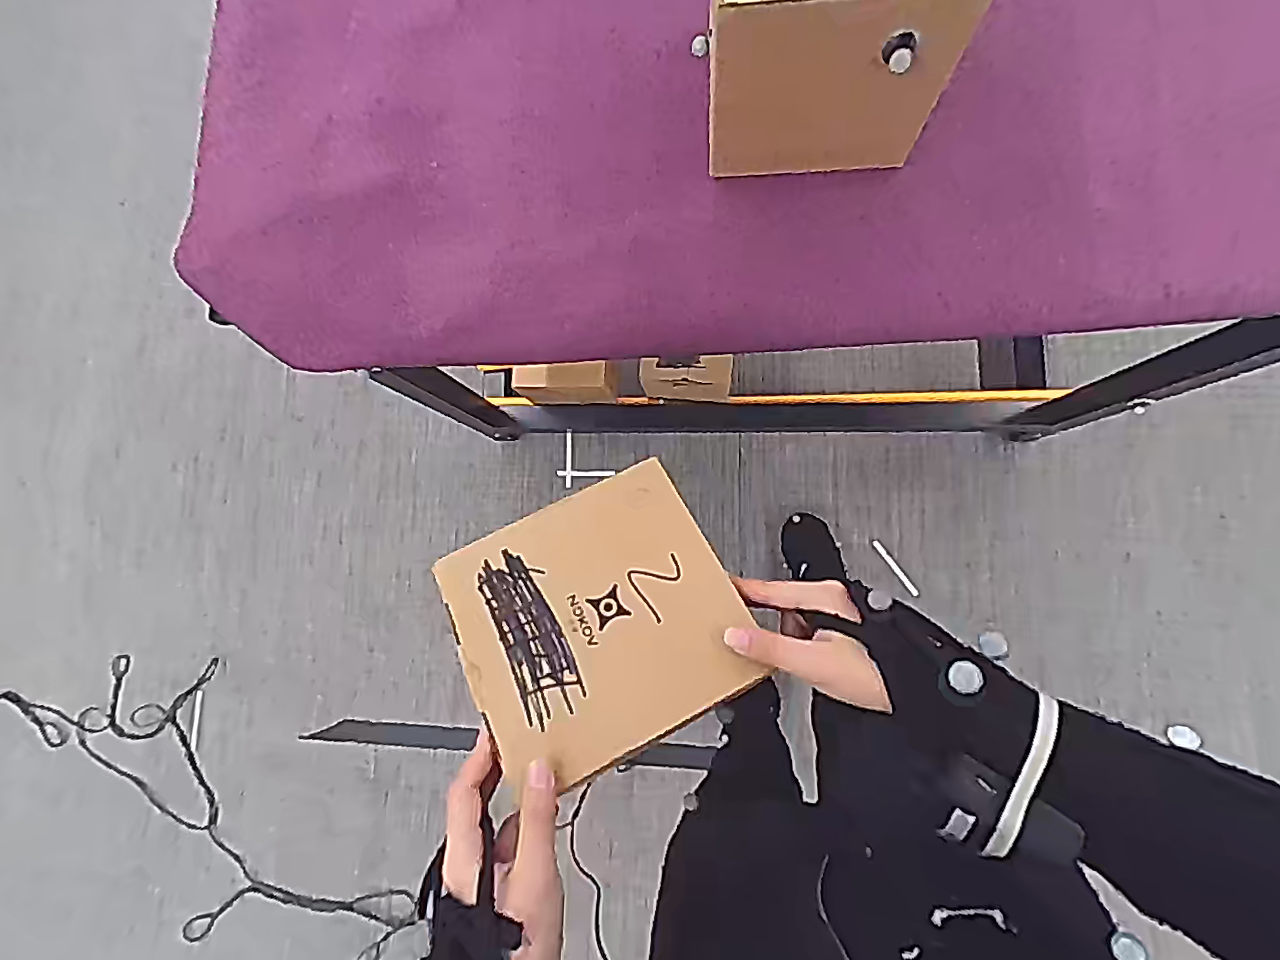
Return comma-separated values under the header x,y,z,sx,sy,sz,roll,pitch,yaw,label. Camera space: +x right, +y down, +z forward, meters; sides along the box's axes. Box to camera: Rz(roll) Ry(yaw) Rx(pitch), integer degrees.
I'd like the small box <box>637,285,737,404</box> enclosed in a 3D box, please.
x,y,z,sx,sy,sz,roll,pitch,yaw,label
0.093,-0.254,1.051,0.168,0.176,0.179,6,84,6,small box

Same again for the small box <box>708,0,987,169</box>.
x,y,z,sx,sy,sz,roll,pitch,yaw,label
0.146,-0.380,0.432,0.179,0.176,0.168,0,82,6,small box
